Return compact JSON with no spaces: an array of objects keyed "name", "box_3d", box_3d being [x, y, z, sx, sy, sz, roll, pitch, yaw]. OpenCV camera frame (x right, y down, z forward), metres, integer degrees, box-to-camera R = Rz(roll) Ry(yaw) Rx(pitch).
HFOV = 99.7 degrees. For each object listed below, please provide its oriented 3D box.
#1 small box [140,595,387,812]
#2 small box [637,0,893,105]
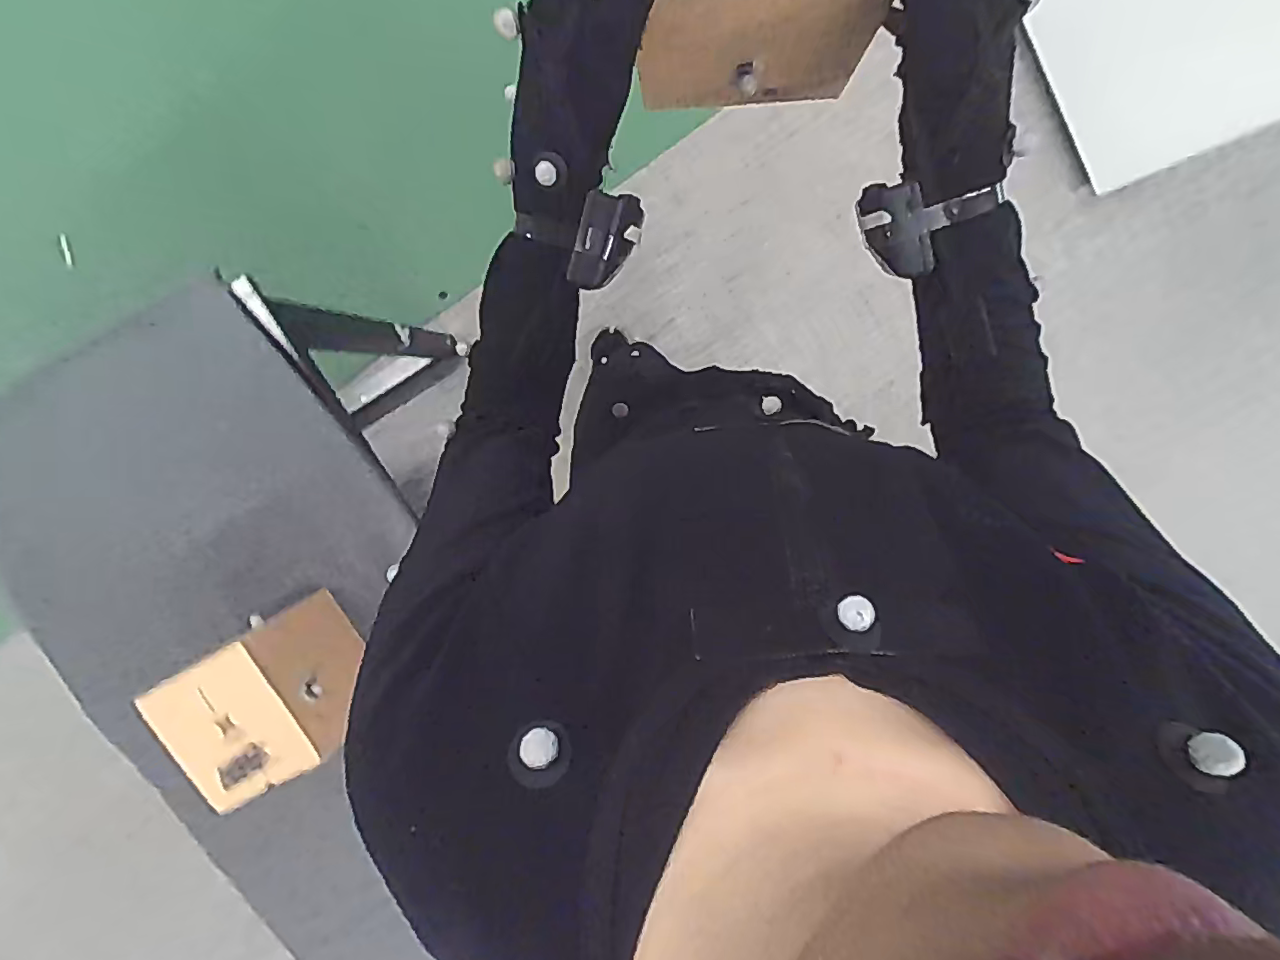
[{"name":"small box","box_3d":[-0.481,0.286,0.723,0.168,0.176,0.179,-29,97,7]},{"name":"small box","box_3d":[0.080,-0.390,0.363,0.168,0.176,0.179,1,102,6]}]
